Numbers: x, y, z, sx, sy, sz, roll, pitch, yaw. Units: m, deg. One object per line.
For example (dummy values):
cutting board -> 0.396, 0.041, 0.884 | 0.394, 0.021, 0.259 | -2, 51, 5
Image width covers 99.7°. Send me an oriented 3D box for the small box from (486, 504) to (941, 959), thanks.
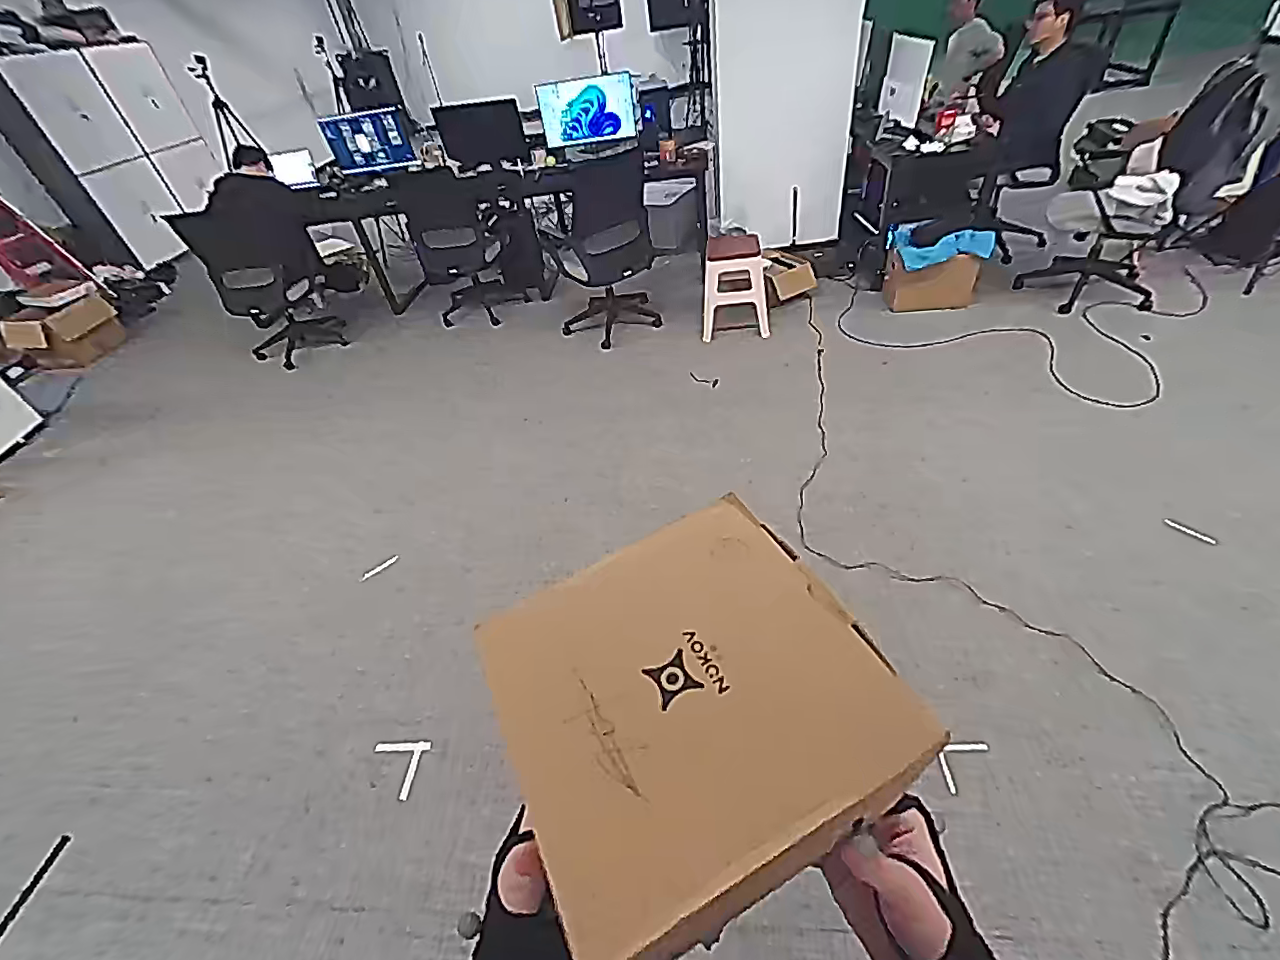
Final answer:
small box -> 0.037, 0.154, 0.332 | 0.179, 0.176, 0.168 | -29, 48, -12
